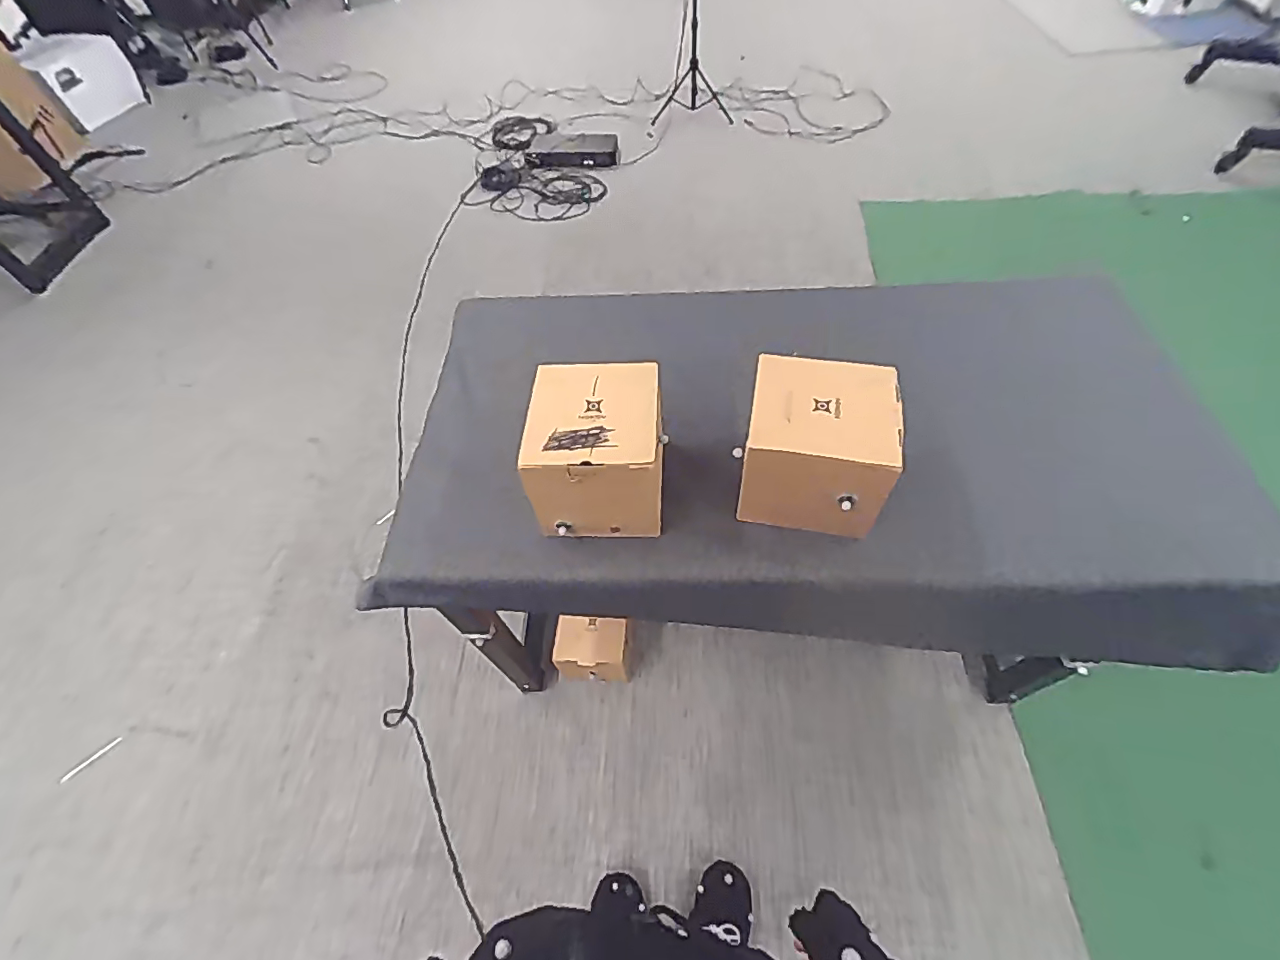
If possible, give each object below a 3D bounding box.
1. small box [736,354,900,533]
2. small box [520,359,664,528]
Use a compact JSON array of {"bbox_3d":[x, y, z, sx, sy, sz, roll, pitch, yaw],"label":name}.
[{"bbox_3d":[0.233,-0.044,0.734,0.179,0.176,0.168,8,56,10],"label":"small box"},{"bbox_3d":[-0.053,-0.046,0.750,0.168,0.176,0.179,1,55,4],"label":"small box"}]
